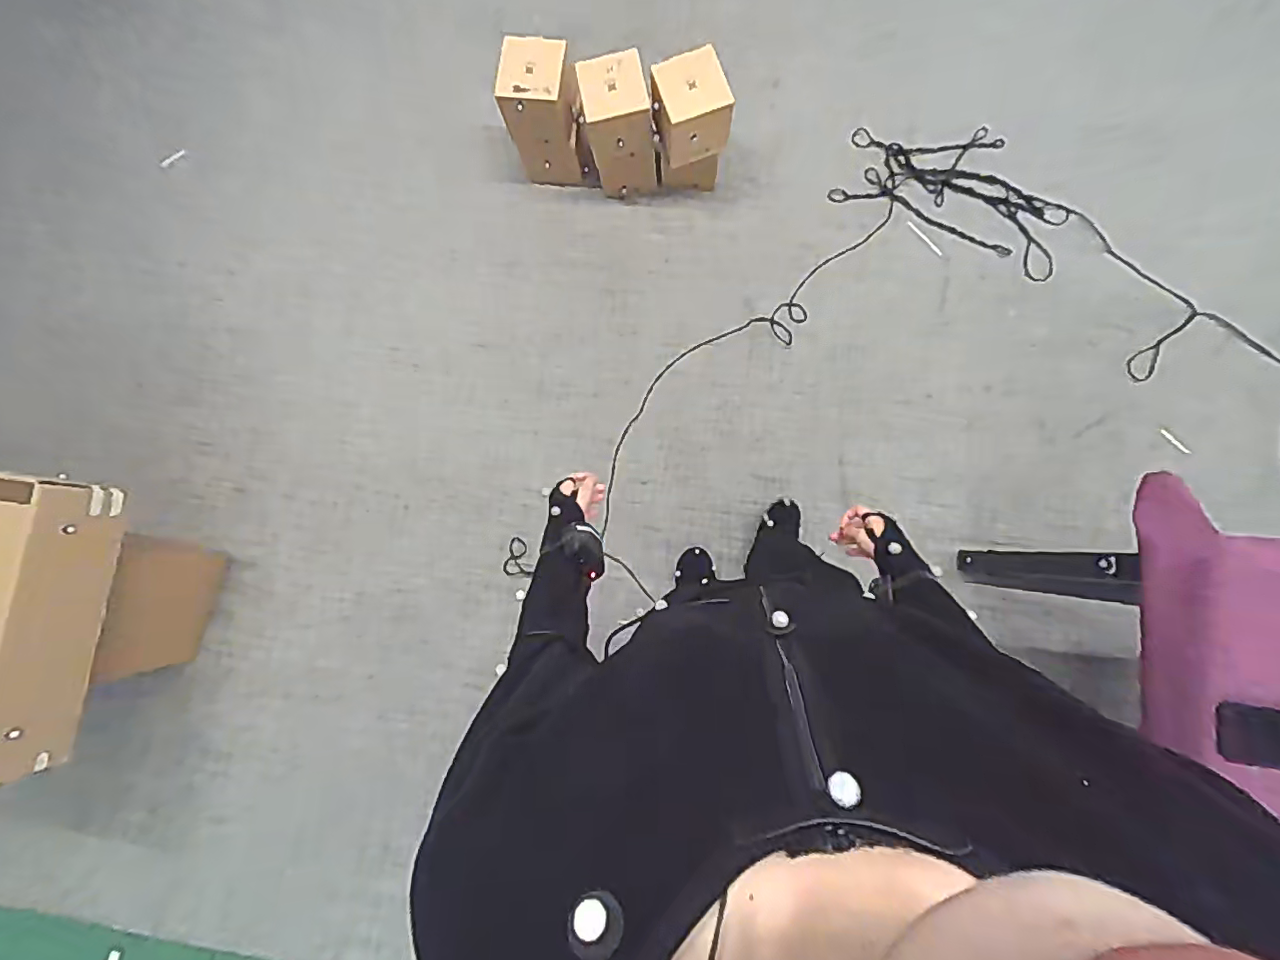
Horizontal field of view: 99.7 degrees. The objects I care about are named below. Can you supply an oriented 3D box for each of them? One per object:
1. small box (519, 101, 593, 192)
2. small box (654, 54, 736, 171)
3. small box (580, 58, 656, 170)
[{"bbox_3d":[-0.243,-0.992,1.618,0.179,0.176,0.168,6,82,6],"label":"small box"},{"bbox_3d":[0.144,-0.949,1.419,0.168,0.176,0.179,-19,80,2],"label":"small box"},{"bbox_3d":[-0.053,-0.958,1.436,0.168,0.176,0.179,-11,81,2],"label":"small box"}]
